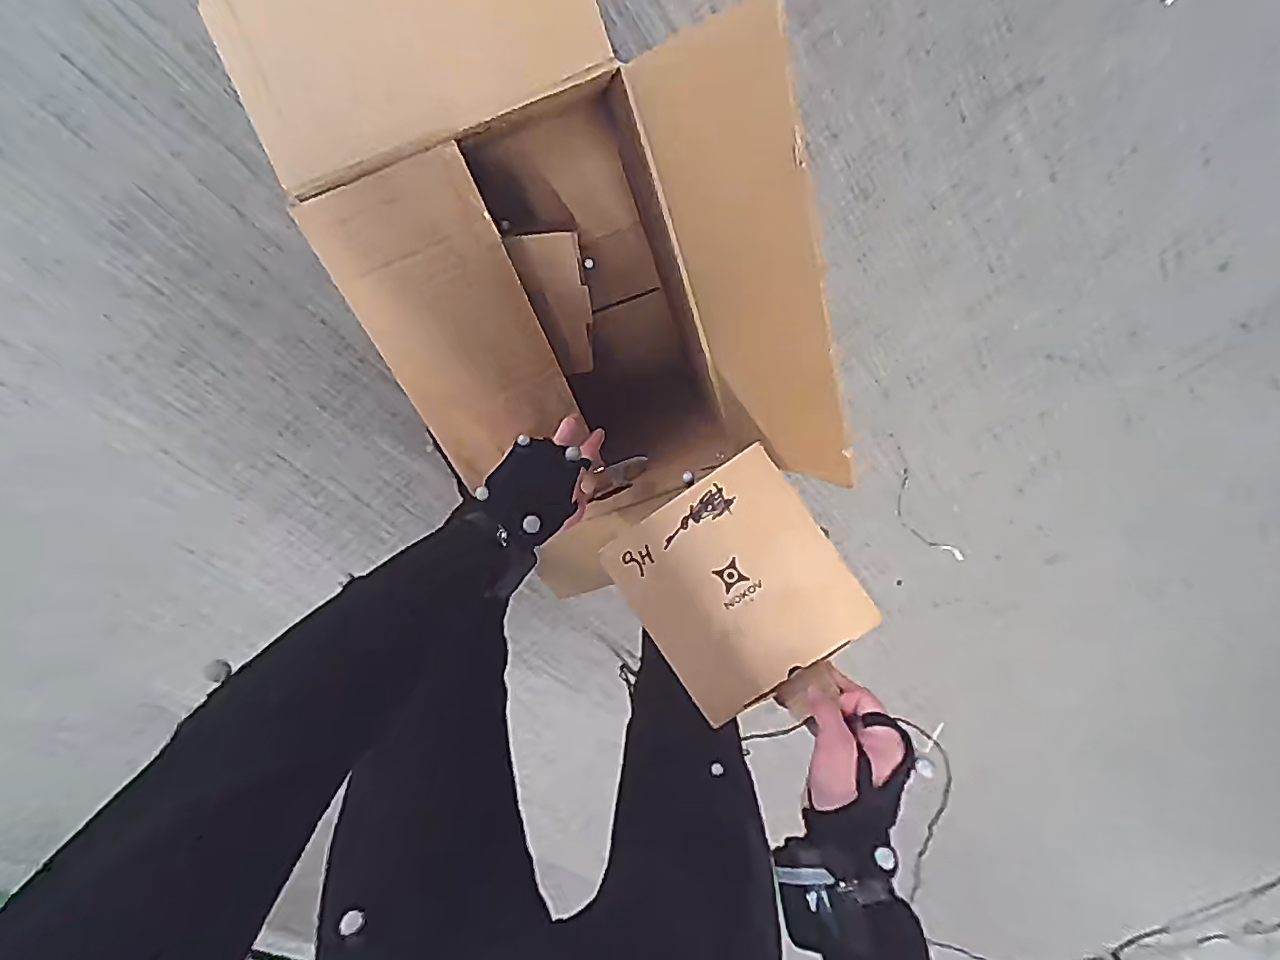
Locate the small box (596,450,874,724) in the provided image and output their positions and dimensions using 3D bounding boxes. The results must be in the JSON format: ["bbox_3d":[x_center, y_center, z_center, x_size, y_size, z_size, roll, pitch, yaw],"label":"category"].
[{"bbox_3d":[0.087,0.090,0.528,0.168,0.176,0.179,-37,84,5],"label":"small box"}]
